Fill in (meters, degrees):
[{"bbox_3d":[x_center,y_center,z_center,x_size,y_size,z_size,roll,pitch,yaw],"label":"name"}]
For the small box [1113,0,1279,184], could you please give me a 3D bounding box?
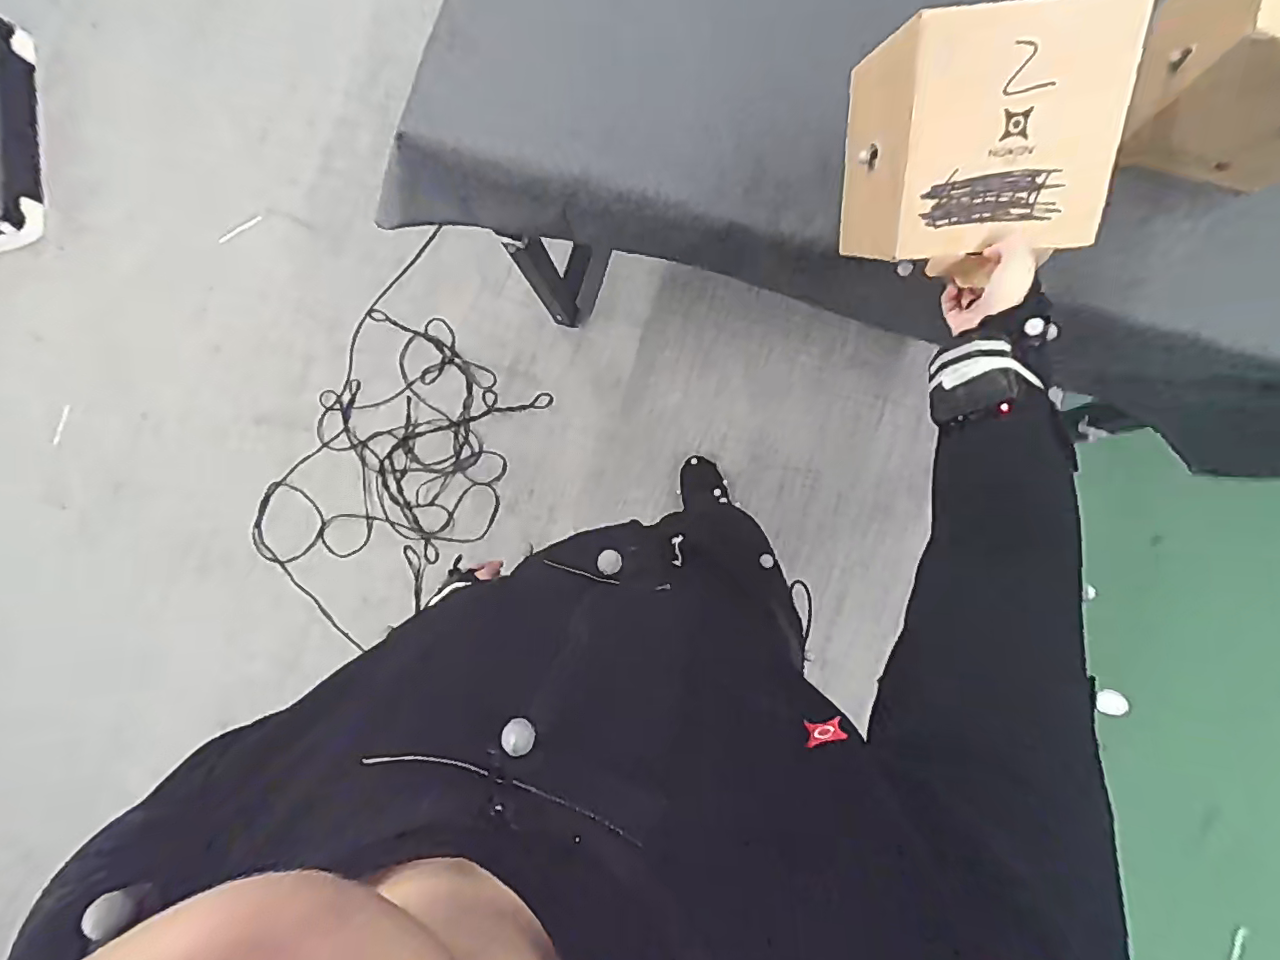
[{"bbox_3d":[0.626,-0.432,0.534,0.168,0.176,0.179,16,86,5],"label":"small box"}]
